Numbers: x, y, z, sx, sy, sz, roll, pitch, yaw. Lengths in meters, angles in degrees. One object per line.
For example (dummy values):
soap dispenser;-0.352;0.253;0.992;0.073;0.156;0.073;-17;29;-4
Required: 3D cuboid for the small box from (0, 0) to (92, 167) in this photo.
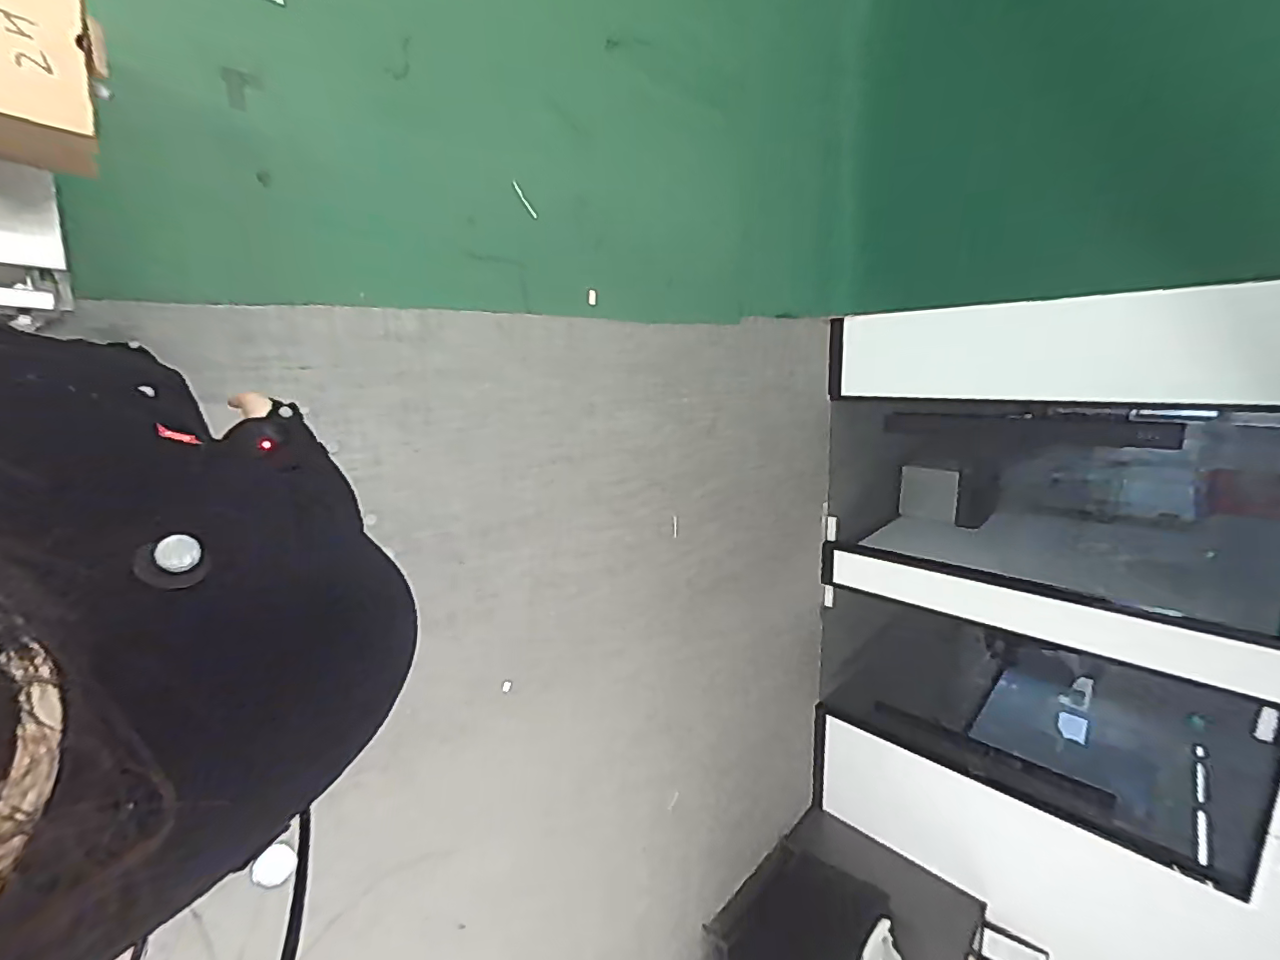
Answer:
small box;-0.627;-0.412;0.489;0.179;0.176;0.168;-6;103;-45
